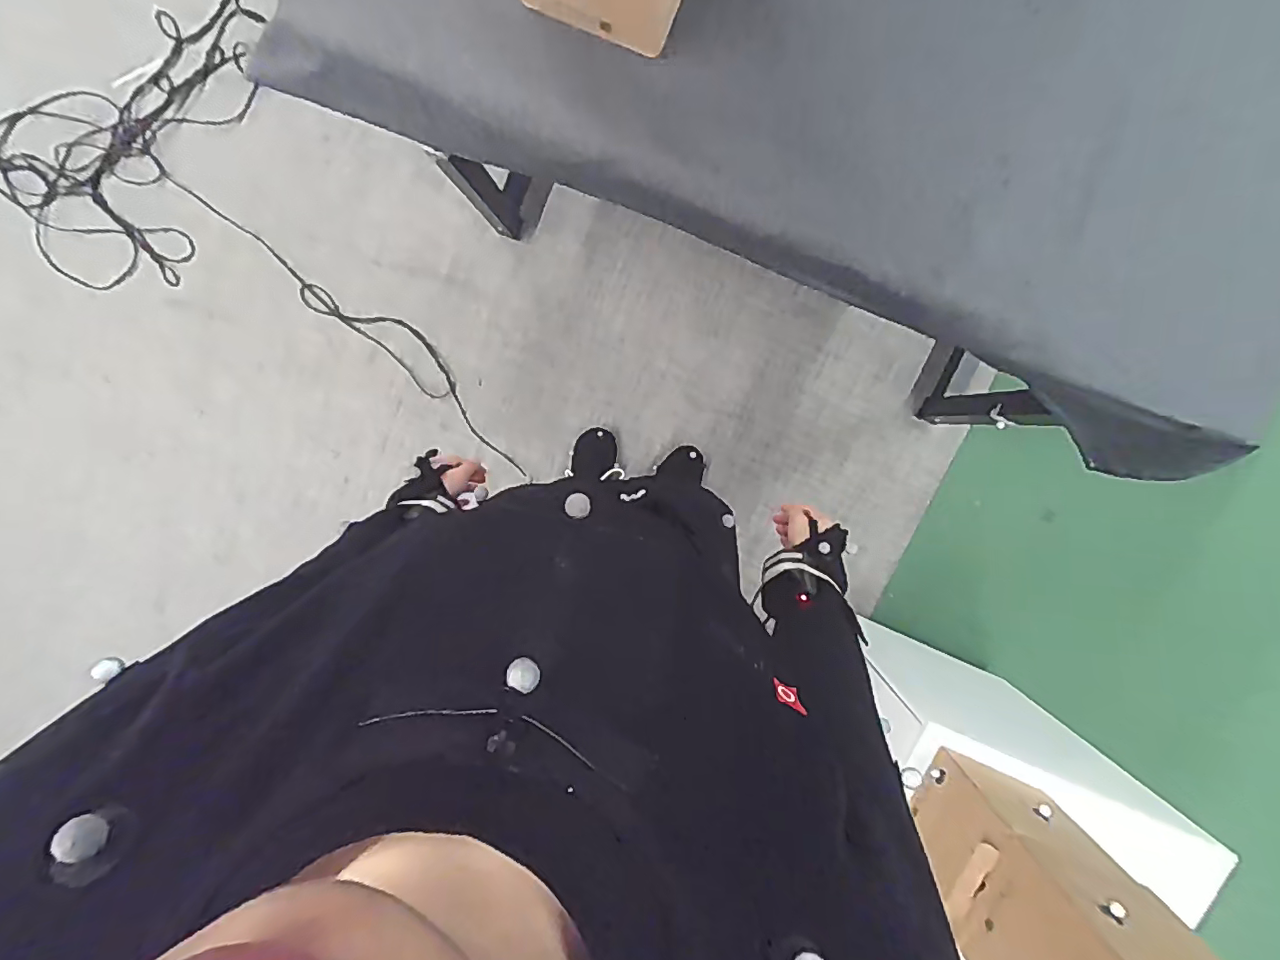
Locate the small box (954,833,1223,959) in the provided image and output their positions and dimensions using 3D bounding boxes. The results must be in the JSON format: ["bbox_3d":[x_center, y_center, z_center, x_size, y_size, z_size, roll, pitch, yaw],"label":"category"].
[{"bbox_3d":[0.486,0.528,0.582,0.179,0.176,0.168,21,99,-3],"label":"small box"}]

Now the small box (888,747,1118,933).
[{"bbox_3d":[0.481,0.505,0.743,0.179,0.176,0.168,24,97,-3],"label":"small box"}]

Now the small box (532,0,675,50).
[{"bbox_3d":[-0.027,-0.563,0.495,0.168,0.176,0.179,22,96,-1],"label":"small box"}]
